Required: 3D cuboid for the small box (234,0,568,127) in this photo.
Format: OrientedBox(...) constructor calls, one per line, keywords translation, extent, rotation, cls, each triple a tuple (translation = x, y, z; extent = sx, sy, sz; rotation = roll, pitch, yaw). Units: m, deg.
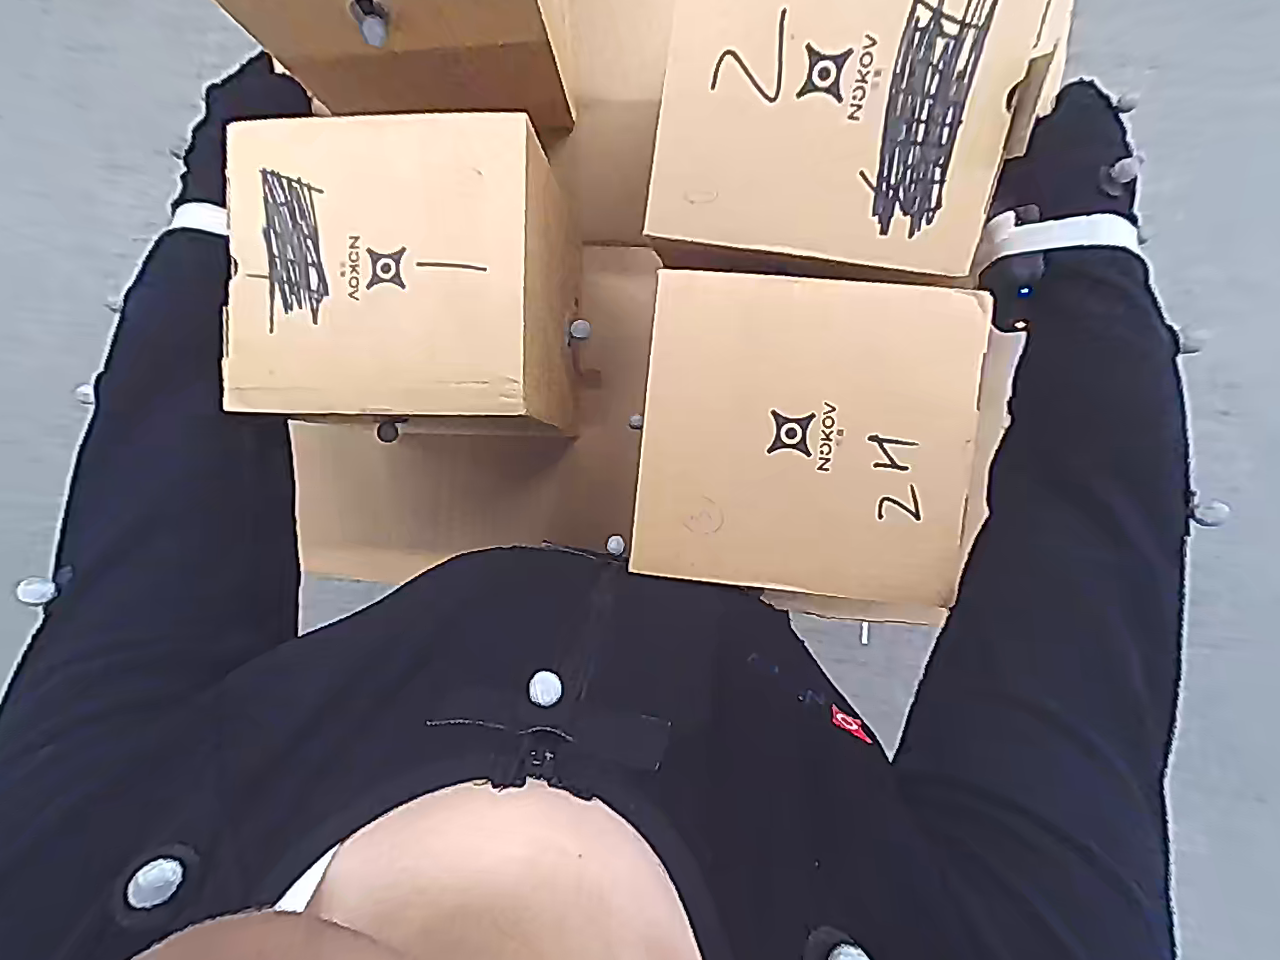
OrientedBox(translation=(-0.146, -0.361, 0.344), extent=(0.179, 0.176, 0.168), rotation=(-3, 93, 5), cls="small box")
